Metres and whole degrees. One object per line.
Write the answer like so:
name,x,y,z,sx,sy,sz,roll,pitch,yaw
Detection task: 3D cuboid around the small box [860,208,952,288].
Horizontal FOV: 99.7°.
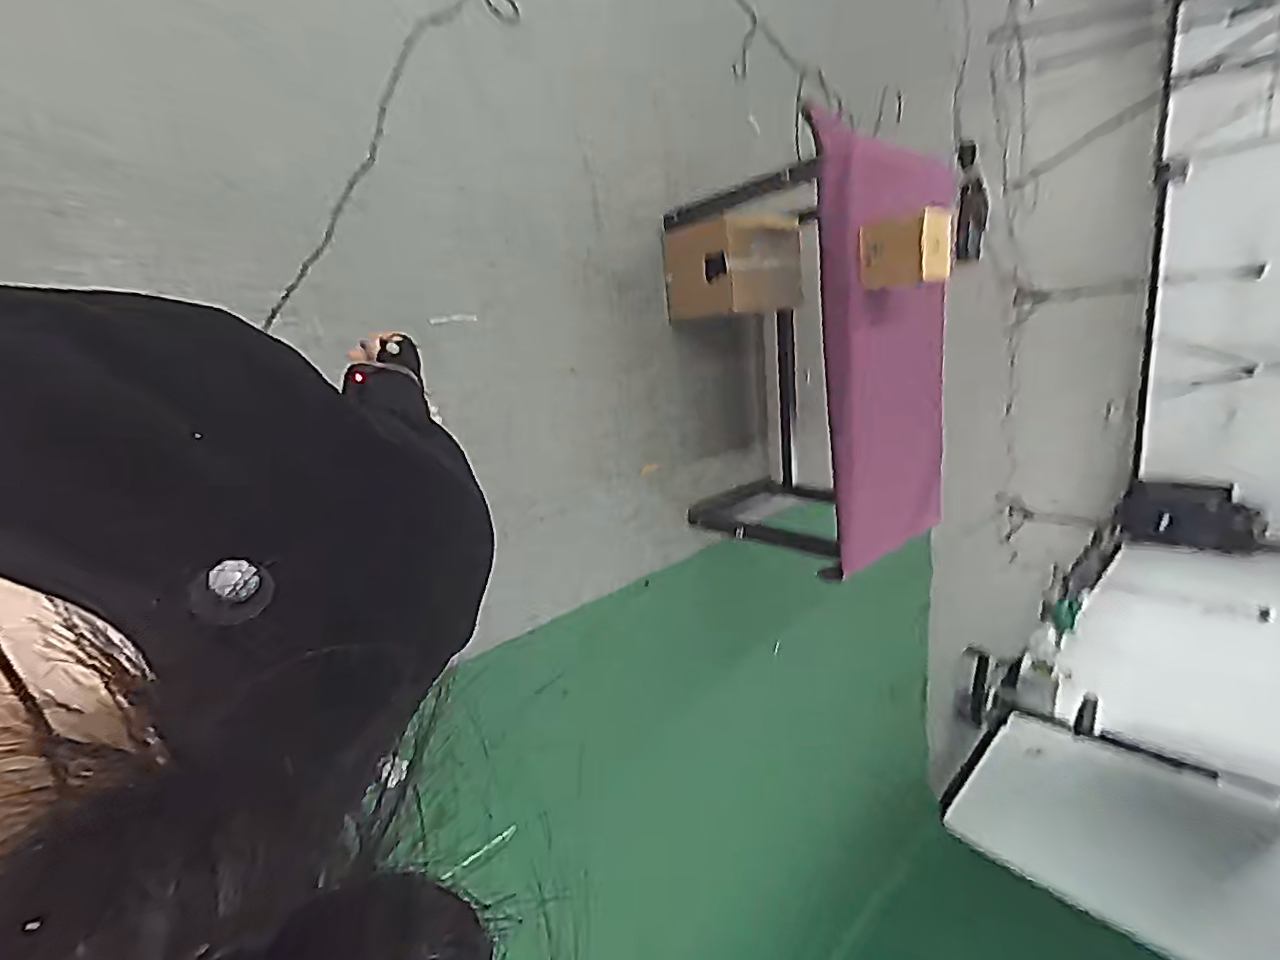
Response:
small box,0.714,-0.617,1.455,0.179,0.176,0.168,-17,108,-38

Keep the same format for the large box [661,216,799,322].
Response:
large box,0.336,-0.764,1.985,0.408,0.320,0.320,-18,107,-36
